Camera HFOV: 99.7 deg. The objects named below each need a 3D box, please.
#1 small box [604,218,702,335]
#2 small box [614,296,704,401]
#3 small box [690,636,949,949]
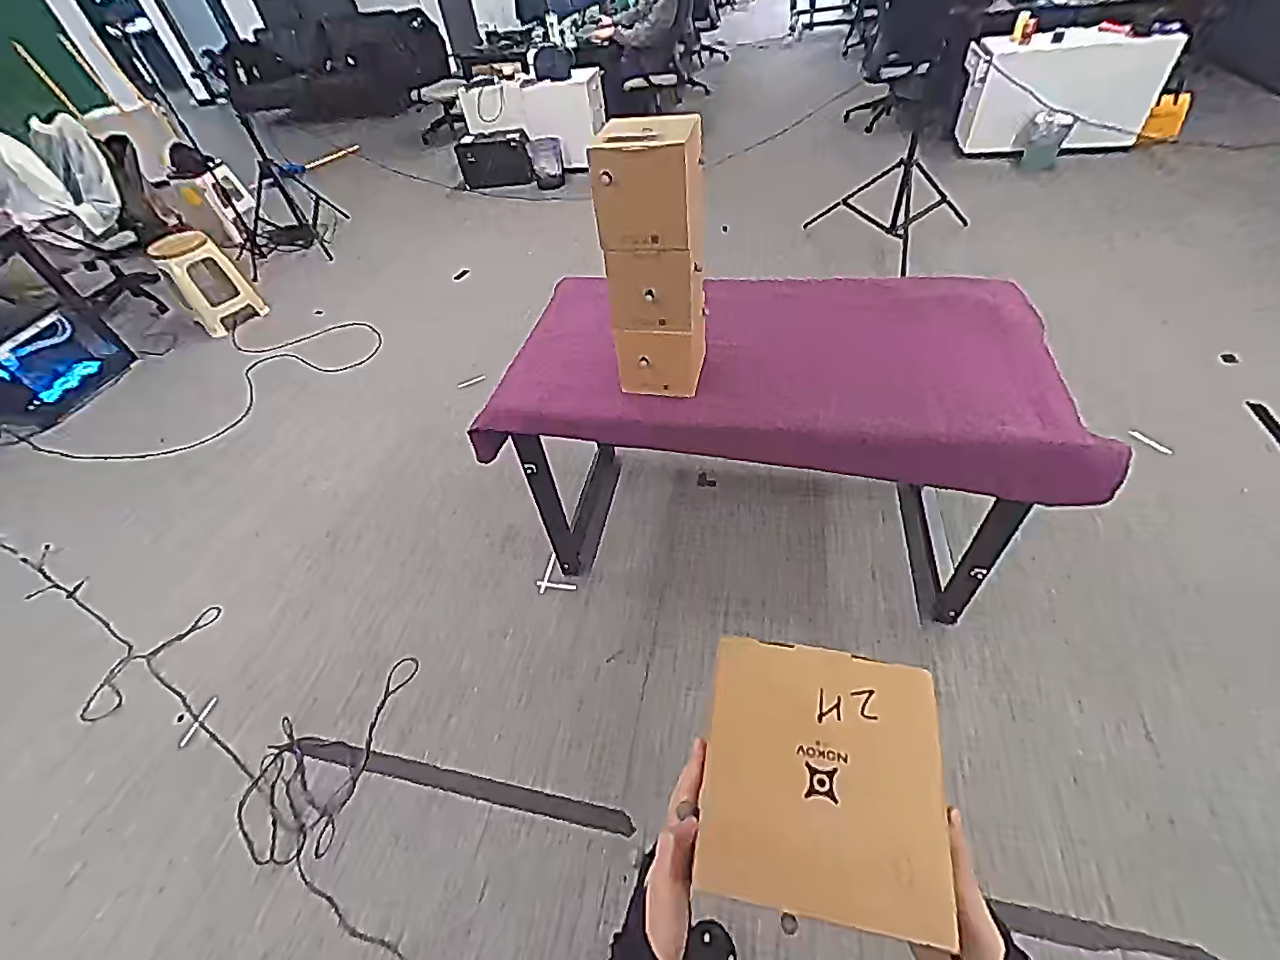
[{"bbox_3d":[0.036,-0.412,1.100,0.168,0.176,0.179,5,48,11],"label":"small box"},{"bbox_3d":[0.052,-0.296,1.215,0.168,0.176,0.179,6,48,13],"label":"small box"},{"bbox_3d":[0.135,0.256,0.461,0.168,0.176,0.179,7,56,8],"label":"small box"}]
